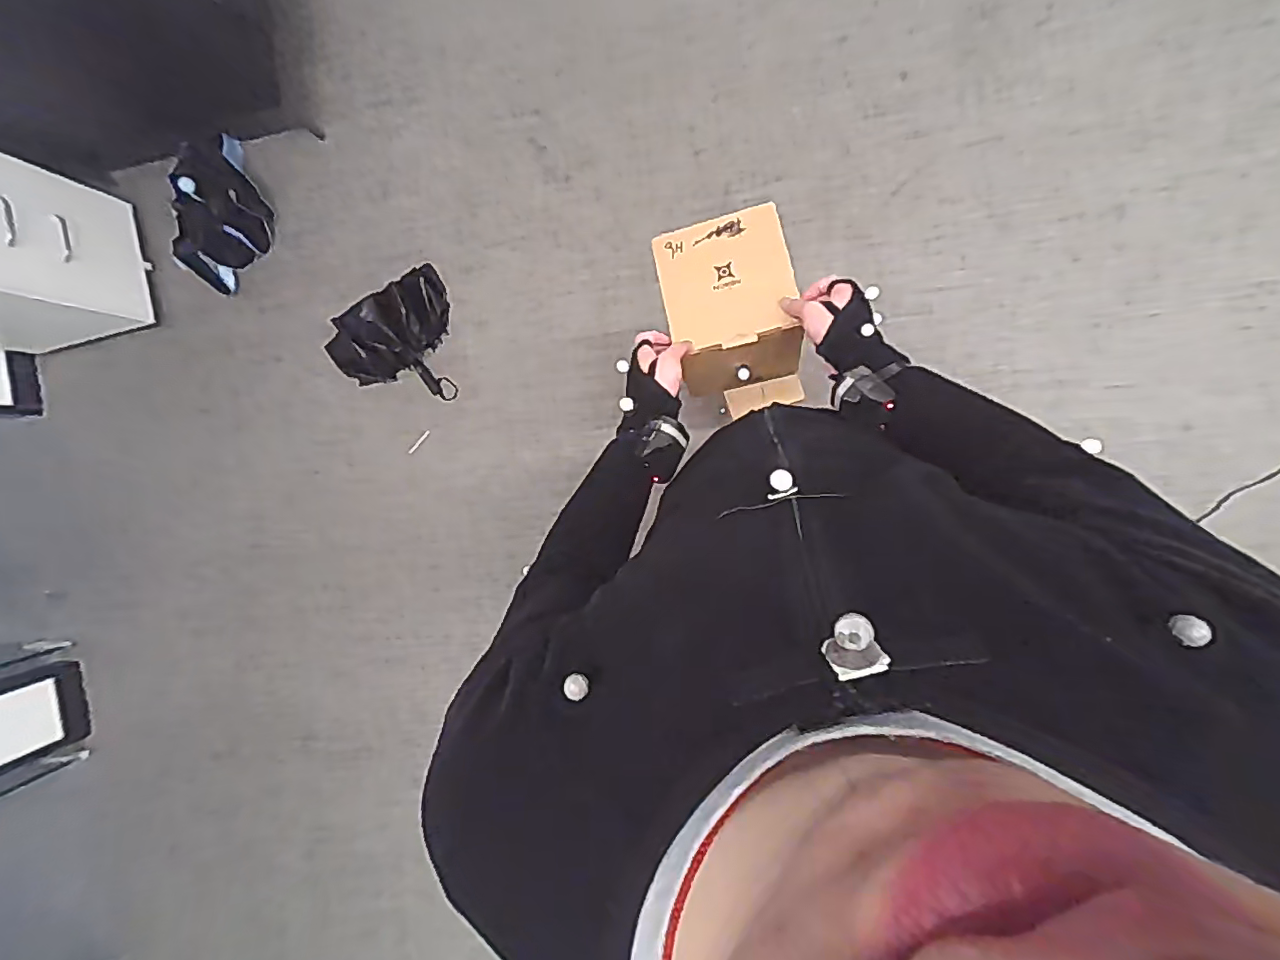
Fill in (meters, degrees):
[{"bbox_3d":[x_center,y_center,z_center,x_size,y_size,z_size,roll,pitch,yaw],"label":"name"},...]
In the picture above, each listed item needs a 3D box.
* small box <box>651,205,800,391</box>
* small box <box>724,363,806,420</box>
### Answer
[{"bbox_3d":[0.124,-0.237,0.759,0.168,0.176,0.179,-12,78,12],"label":"small box"},{"bbox_3d":[0.276,-0.245,1.269,0.168,0.176,0.179,-17,92,12],"label":"small box"}]
